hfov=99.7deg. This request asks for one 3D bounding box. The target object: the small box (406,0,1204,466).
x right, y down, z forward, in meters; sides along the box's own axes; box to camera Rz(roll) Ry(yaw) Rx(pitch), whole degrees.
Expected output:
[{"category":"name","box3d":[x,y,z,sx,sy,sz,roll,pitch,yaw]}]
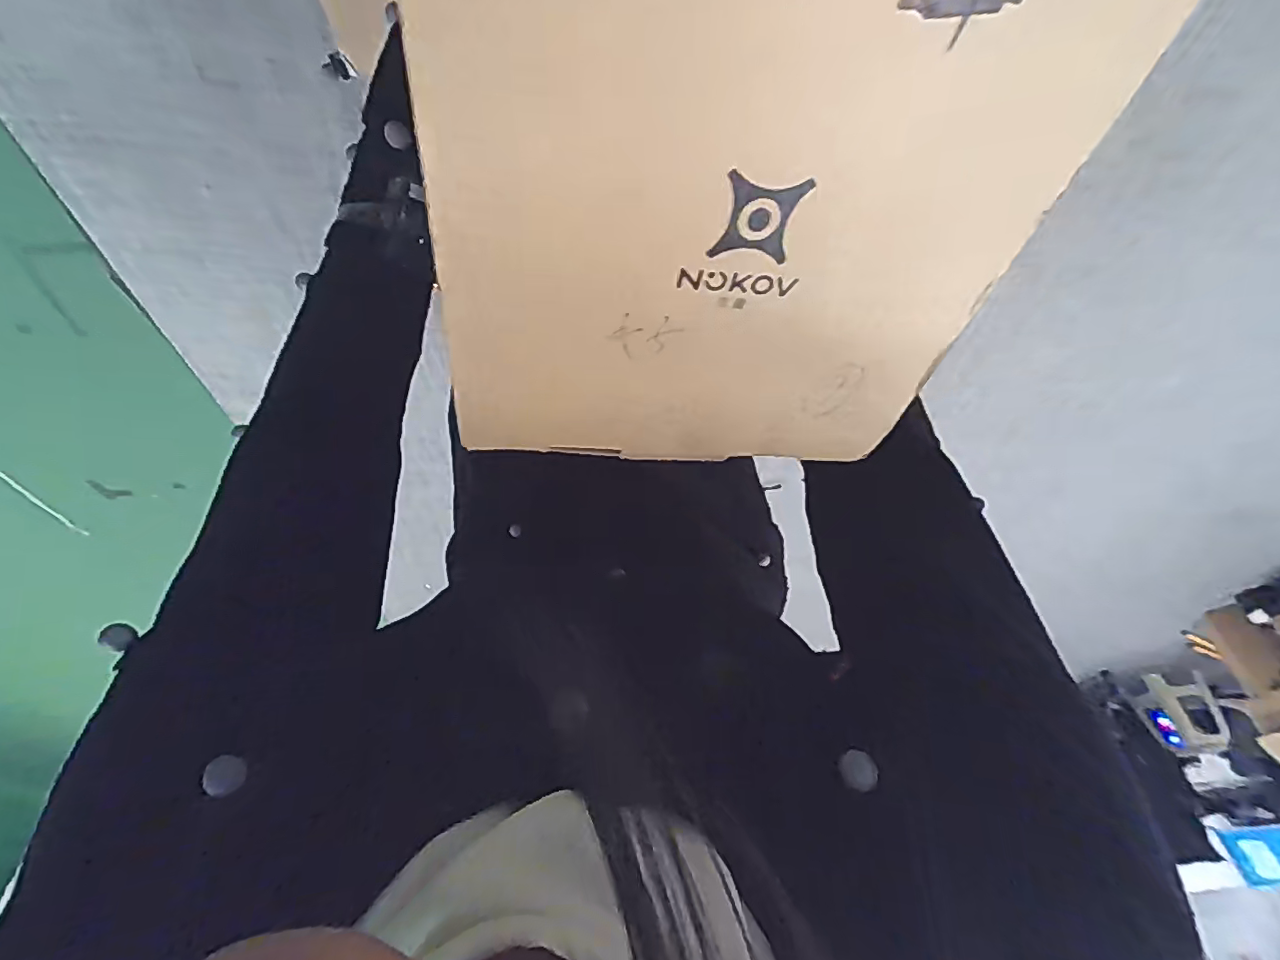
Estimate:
[{"category":"small box","box3d":[0.018,-0.125,0.205,0.168,0.176,0.179,1,143,-12]}]
